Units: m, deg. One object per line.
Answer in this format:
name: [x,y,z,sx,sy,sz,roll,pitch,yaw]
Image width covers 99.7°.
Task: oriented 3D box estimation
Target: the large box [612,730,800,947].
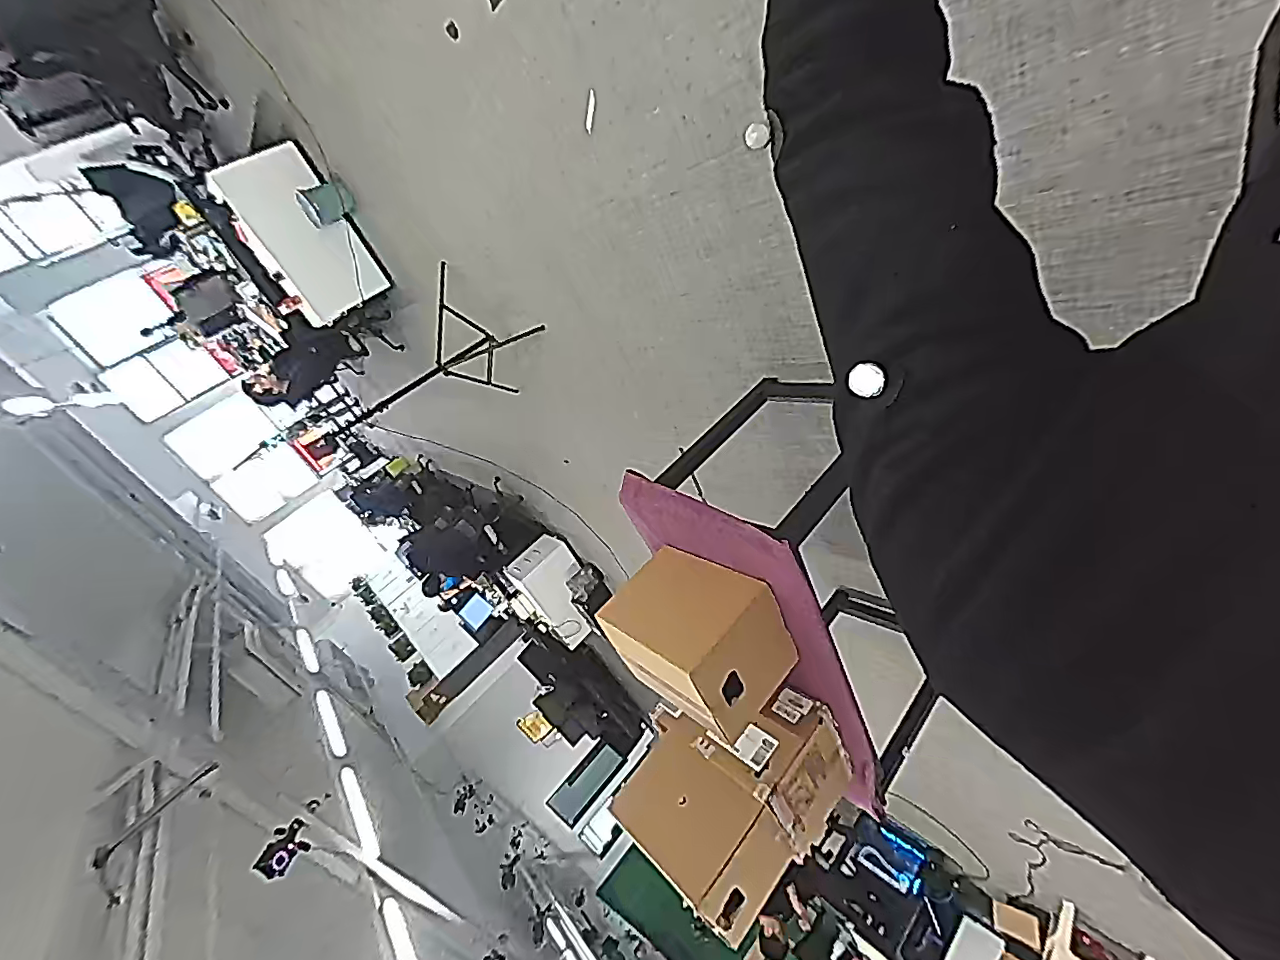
large box: [0.195,1.040,1.620,0.408,0.320,0.320,13,140,51]
